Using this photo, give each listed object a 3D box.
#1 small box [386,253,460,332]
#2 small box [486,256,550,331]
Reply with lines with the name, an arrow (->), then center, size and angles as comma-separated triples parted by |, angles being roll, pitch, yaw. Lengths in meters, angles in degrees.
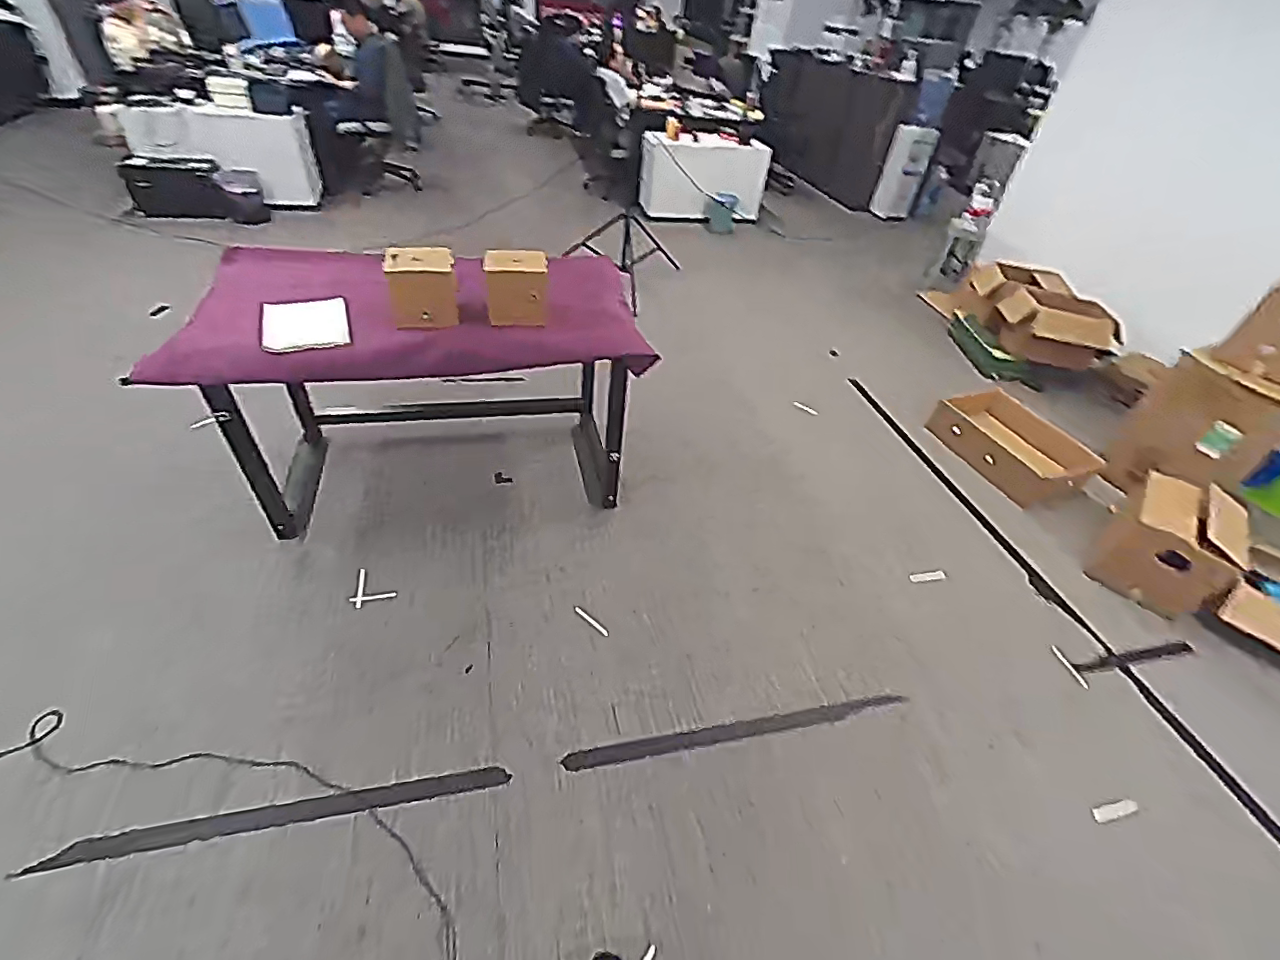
small box -> -0.621, -0.542, 1.572 | 0.179, 0.176, 0.168 | -5, 43, -14
small box -> -0.363, -0.563, 1.634 | 0.179, 0.176, 0.168 | -4, 41, -10
